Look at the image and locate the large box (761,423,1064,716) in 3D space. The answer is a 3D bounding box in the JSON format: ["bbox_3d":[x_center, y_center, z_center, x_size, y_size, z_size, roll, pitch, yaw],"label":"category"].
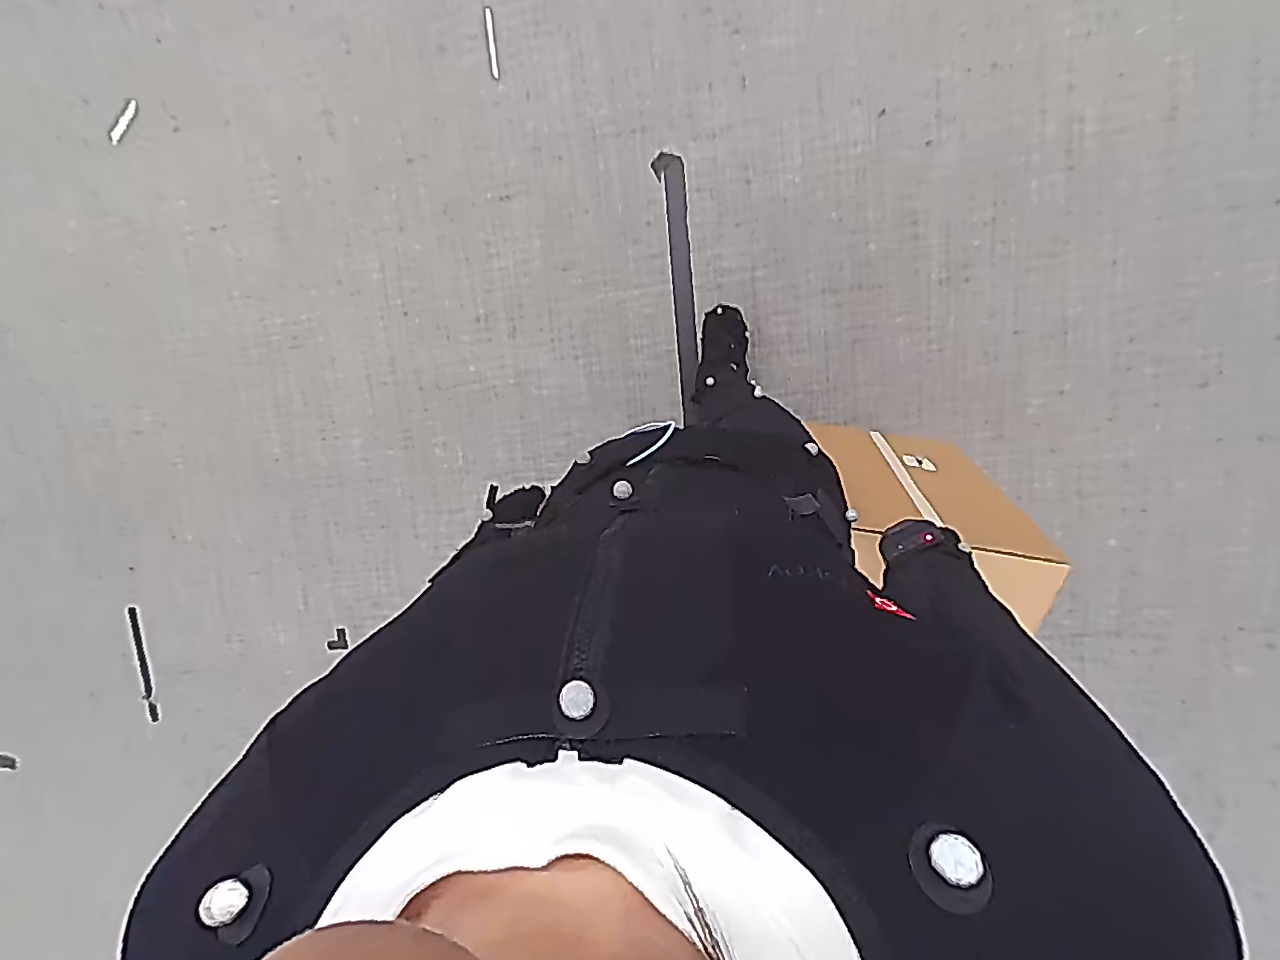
[{"bbox_3d":[0.400,0.125,0.932,0.320,0.408,0.320,9,115,5],"label":"large box"}]
